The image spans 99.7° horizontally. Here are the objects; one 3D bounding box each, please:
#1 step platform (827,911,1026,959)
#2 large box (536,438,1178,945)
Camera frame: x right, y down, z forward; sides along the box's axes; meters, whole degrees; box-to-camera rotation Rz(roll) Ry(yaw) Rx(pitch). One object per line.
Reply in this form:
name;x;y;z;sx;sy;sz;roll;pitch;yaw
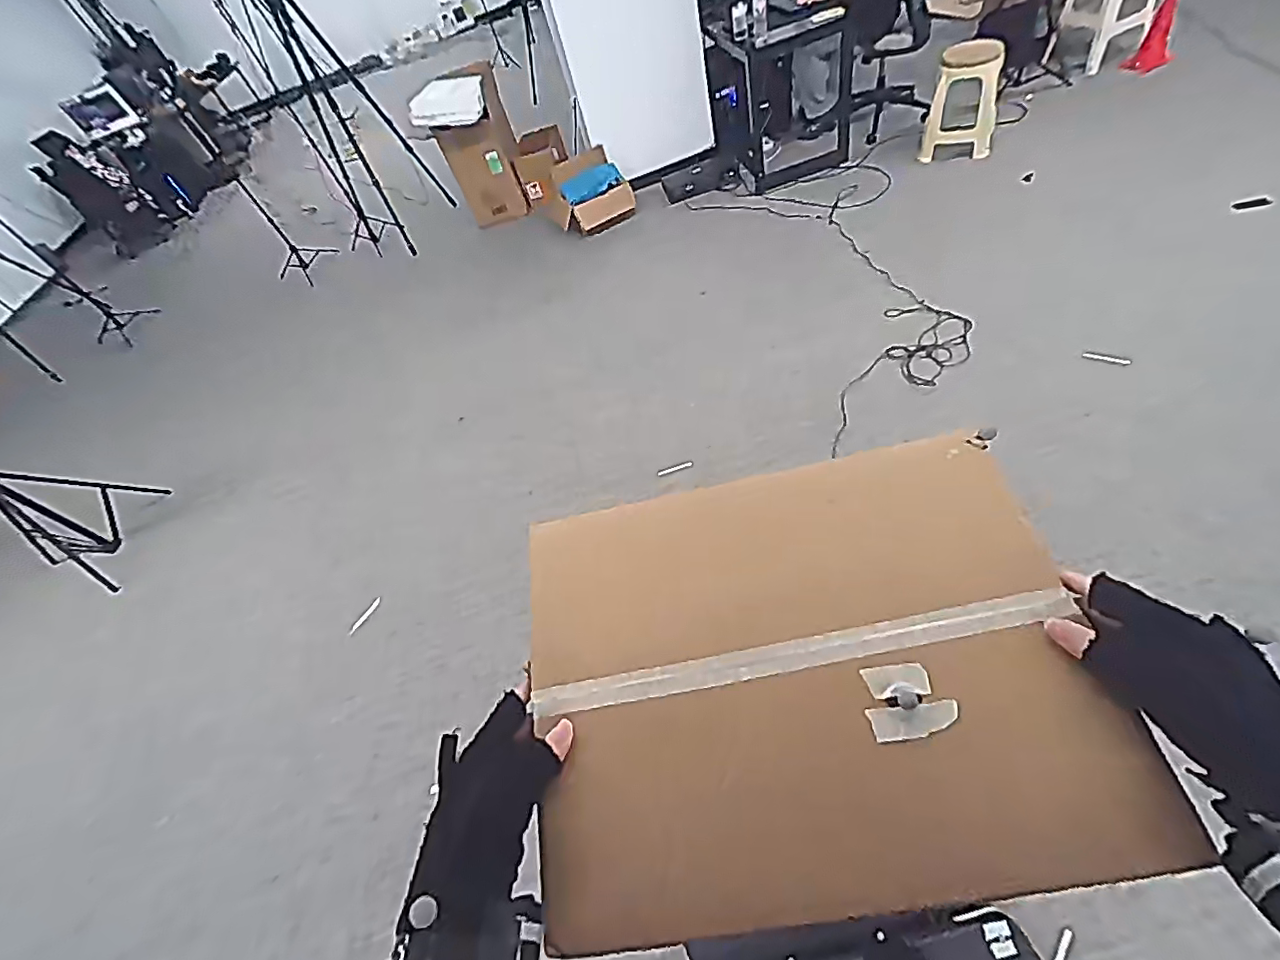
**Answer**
step platform;0.439;1.086;1.028;0.684;0.204;0.286;-21;49;4
large box;0.143;0.209;0.547;0.408;0.320;0.320;-13;59;5
